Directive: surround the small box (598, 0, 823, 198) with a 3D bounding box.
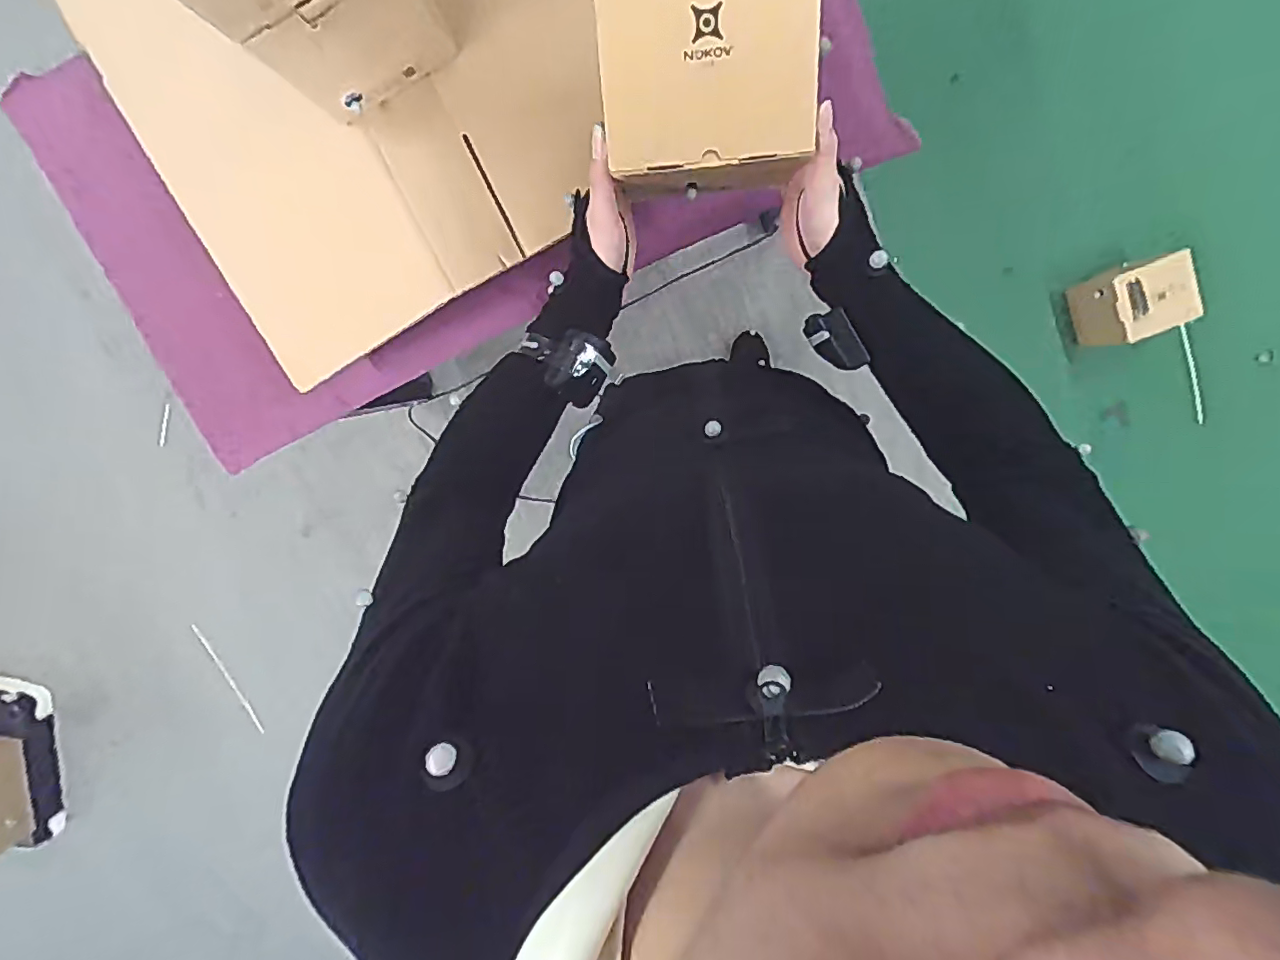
[{"bbox_3d":[0.055,-0.356,0.470,0.168,0.176,0.179,-3,113,5],"label":"small box"}]

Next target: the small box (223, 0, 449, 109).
[{"bbox_3d":[-0.323,-0.513,0.538,0.168,0.176,0.179,-26,99,7],"label":"small box"}]
